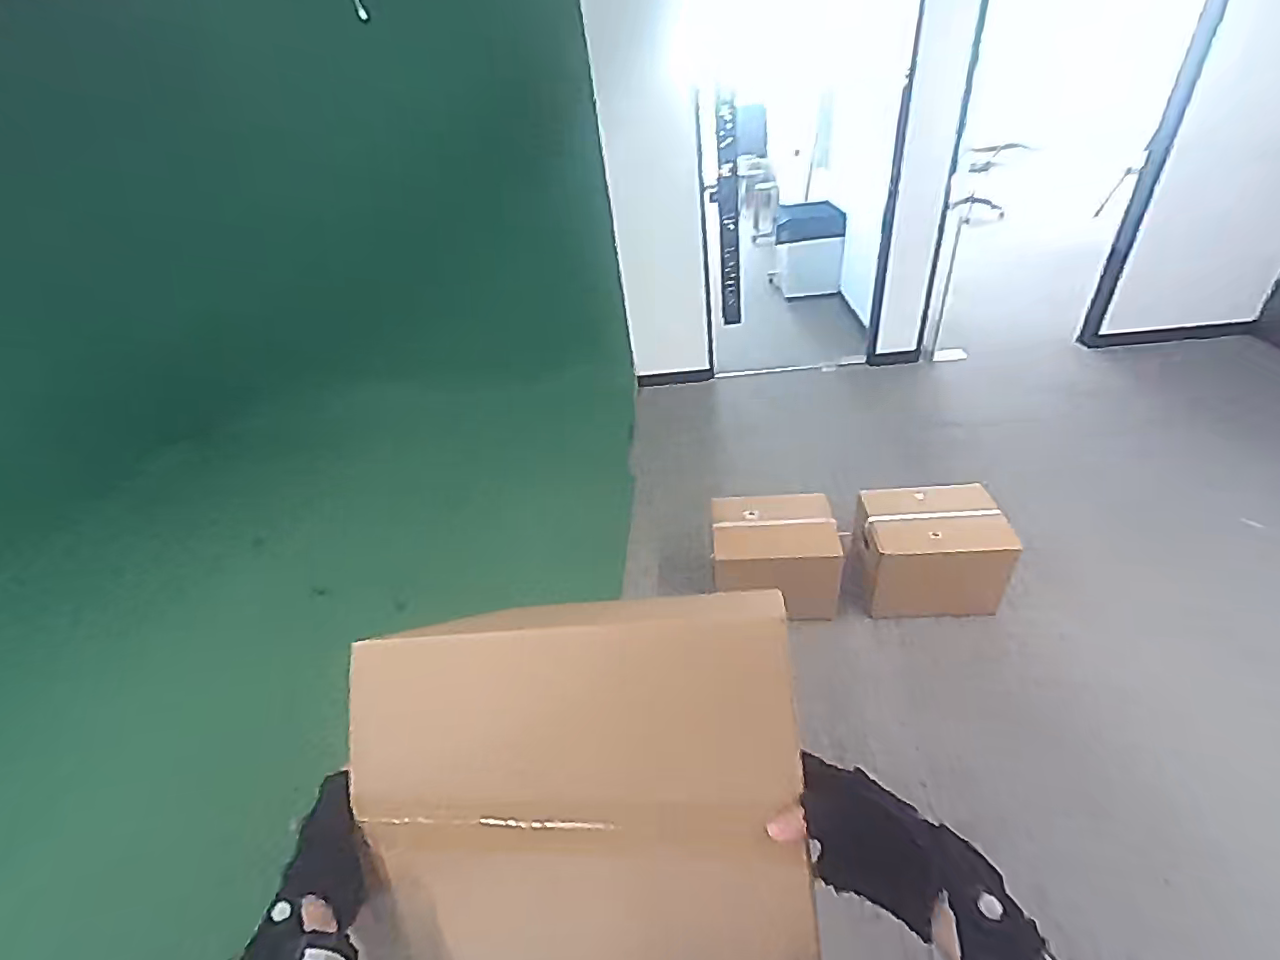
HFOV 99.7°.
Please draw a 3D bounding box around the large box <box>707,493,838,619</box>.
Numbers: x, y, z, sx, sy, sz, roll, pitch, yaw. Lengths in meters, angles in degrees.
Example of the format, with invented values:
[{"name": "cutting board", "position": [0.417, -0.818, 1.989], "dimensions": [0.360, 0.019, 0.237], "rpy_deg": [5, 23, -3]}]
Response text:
[{"name": "large box", "position": [0.451, 0.270, 1.903], "dimensions": [0.408, 0.320, 0.320], "rpy_deg": [-4, 36, 9]}]
